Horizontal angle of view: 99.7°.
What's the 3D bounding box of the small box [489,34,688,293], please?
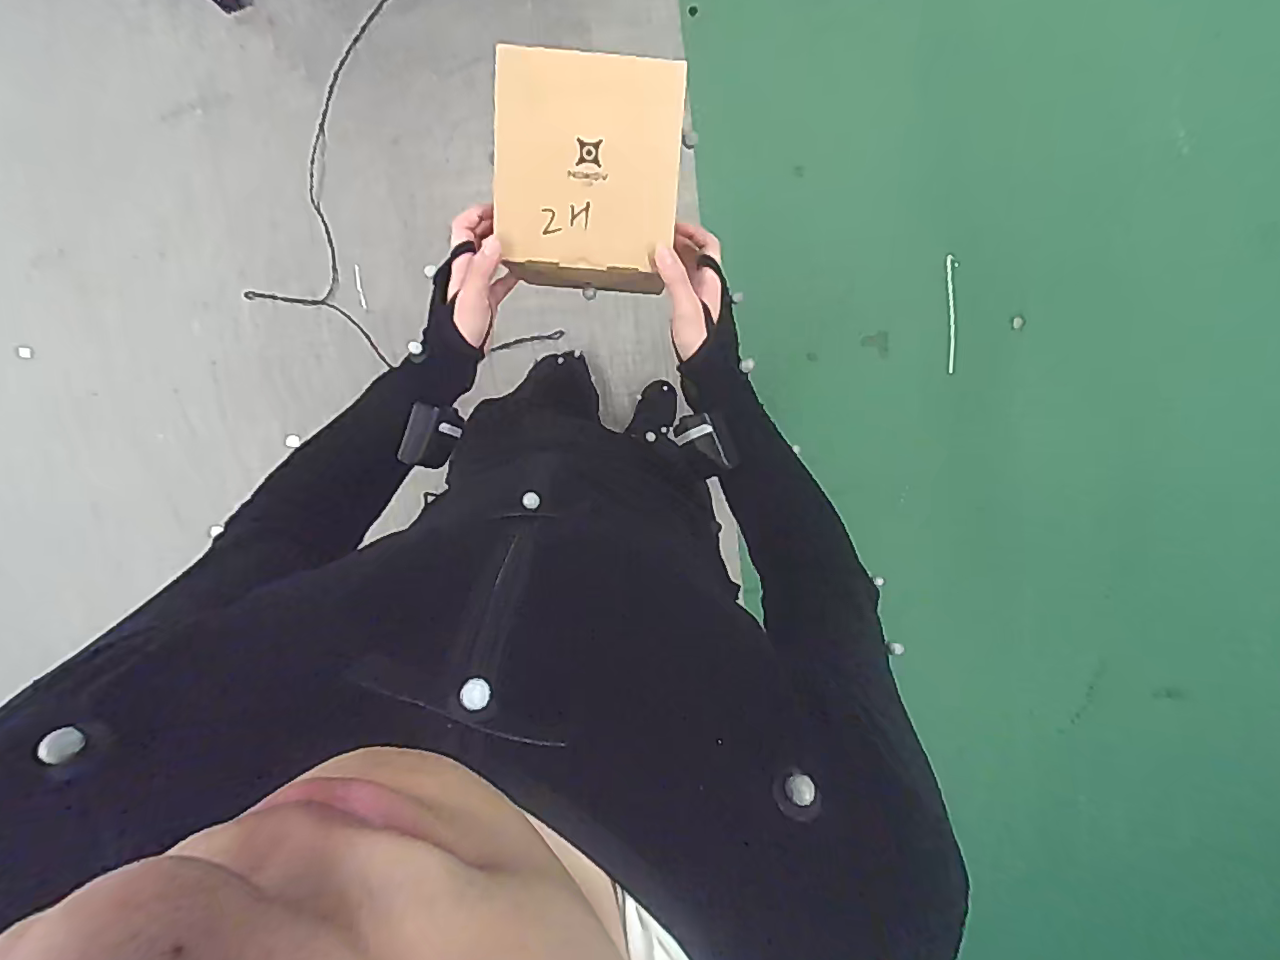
[{"bbox_3d":[-0.049,-0.299,0.551,0.168,0.176,0.179,4,102,-2],"label":"small box"}]
